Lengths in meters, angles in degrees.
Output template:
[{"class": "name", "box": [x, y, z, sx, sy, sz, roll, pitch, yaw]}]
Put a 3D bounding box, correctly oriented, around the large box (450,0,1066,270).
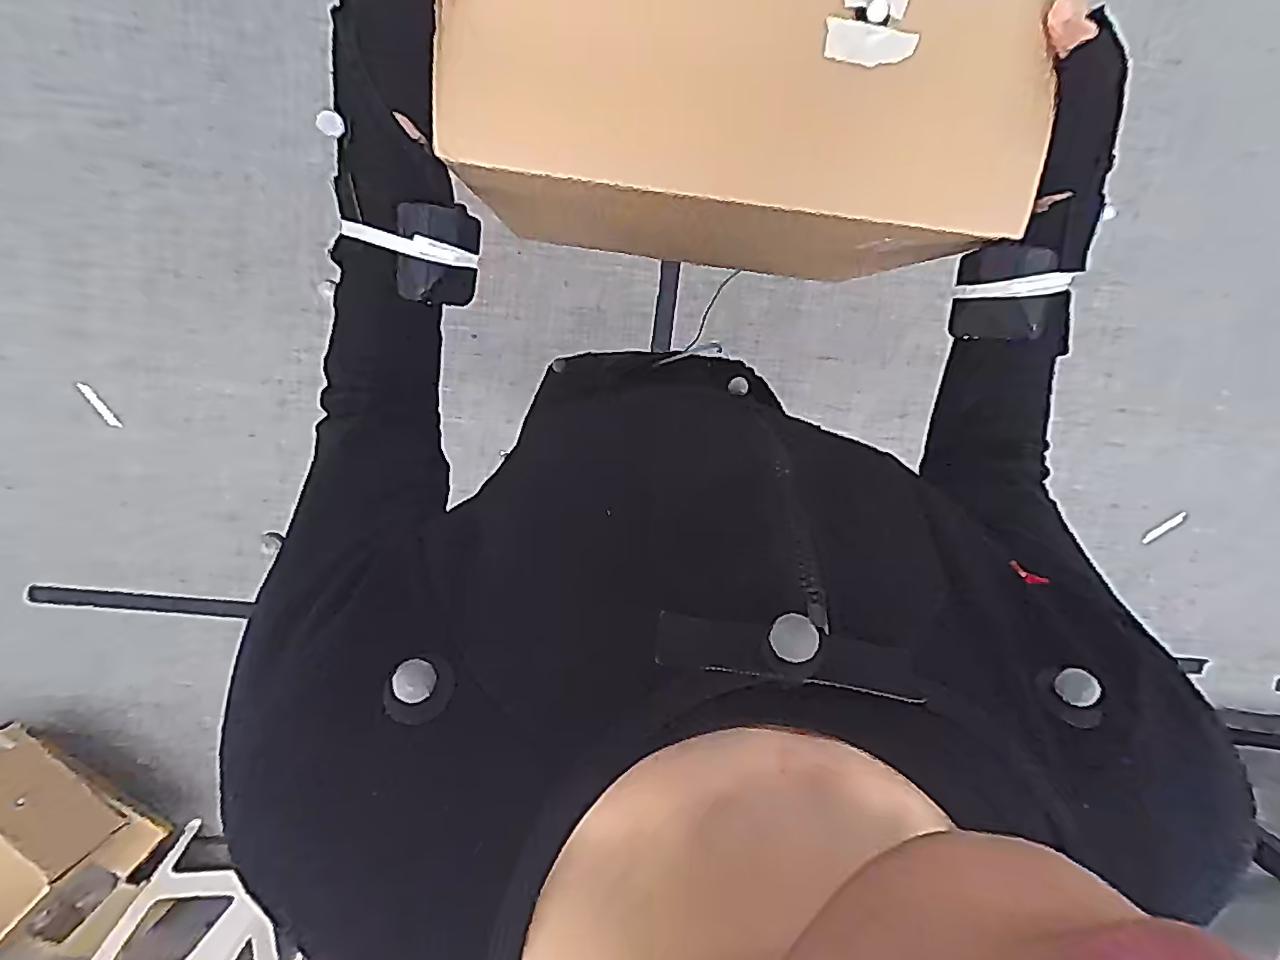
[{"class": "large box", "box": [0.074, -0.385, 0.480, 0.408, 0.320, 0.320, 5, 106, -5]}]
